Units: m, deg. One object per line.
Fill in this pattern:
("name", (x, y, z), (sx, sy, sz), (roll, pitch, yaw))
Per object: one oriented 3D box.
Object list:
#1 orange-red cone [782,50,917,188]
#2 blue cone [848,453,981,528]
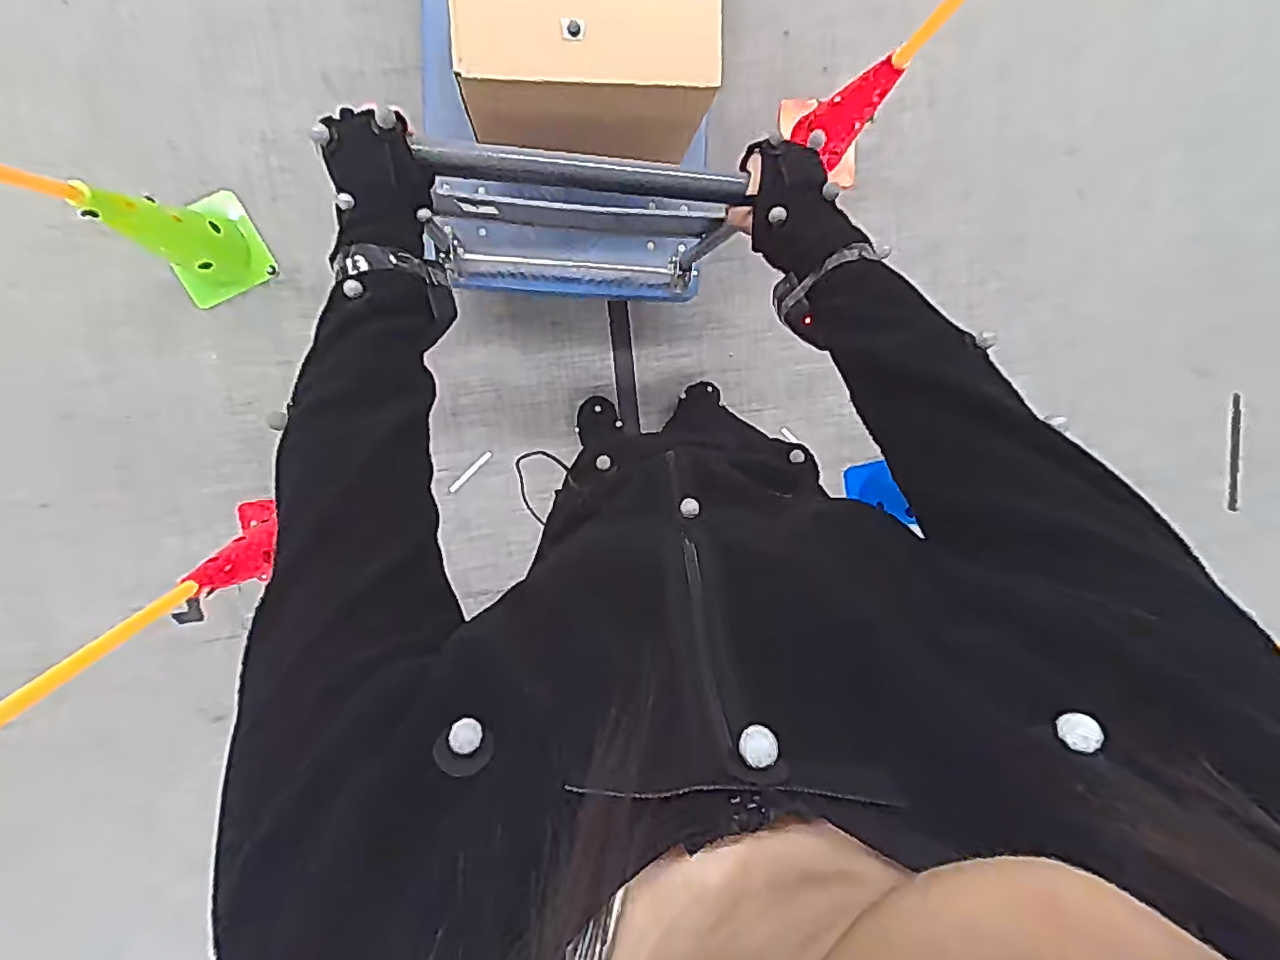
("orange-red cone", (0.478, -0.811, 1.178), (0.199, 0.360, 0.198), (-1, 99, -8))
("blue cone", (0.704, 0.054, 1.354), (0.193, 0.380, 0.192), (-12, 99, -6))
